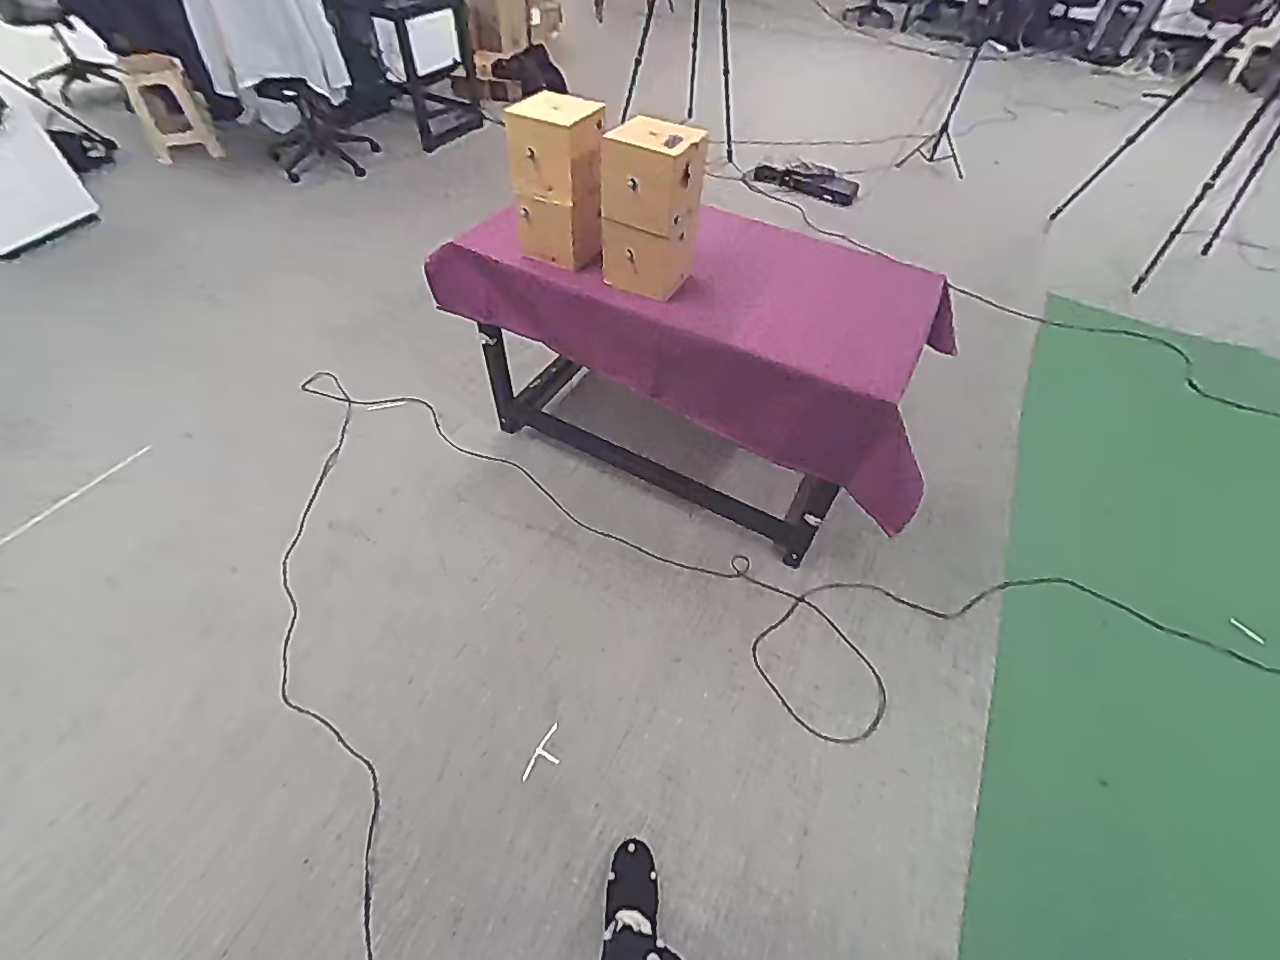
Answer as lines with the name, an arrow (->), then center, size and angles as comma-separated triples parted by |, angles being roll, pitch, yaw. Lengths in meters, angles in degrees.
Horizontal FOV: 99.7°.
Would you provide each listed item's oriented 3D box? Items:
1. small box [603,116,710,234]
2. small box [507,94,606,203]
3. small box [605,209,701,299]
small box -> 0.034, -0.670, 1.195 | 0.179, 0.176, 0.168 | 25, 53, 17
small box -> -0.187, -0.780, 1.277 | 0.168, 0.176, 0.179 | 21, 52, 14
small box -> 0.029, -0.569, 1.325 | 0.179, 0.176, 0.168 | 24, 54, 16
